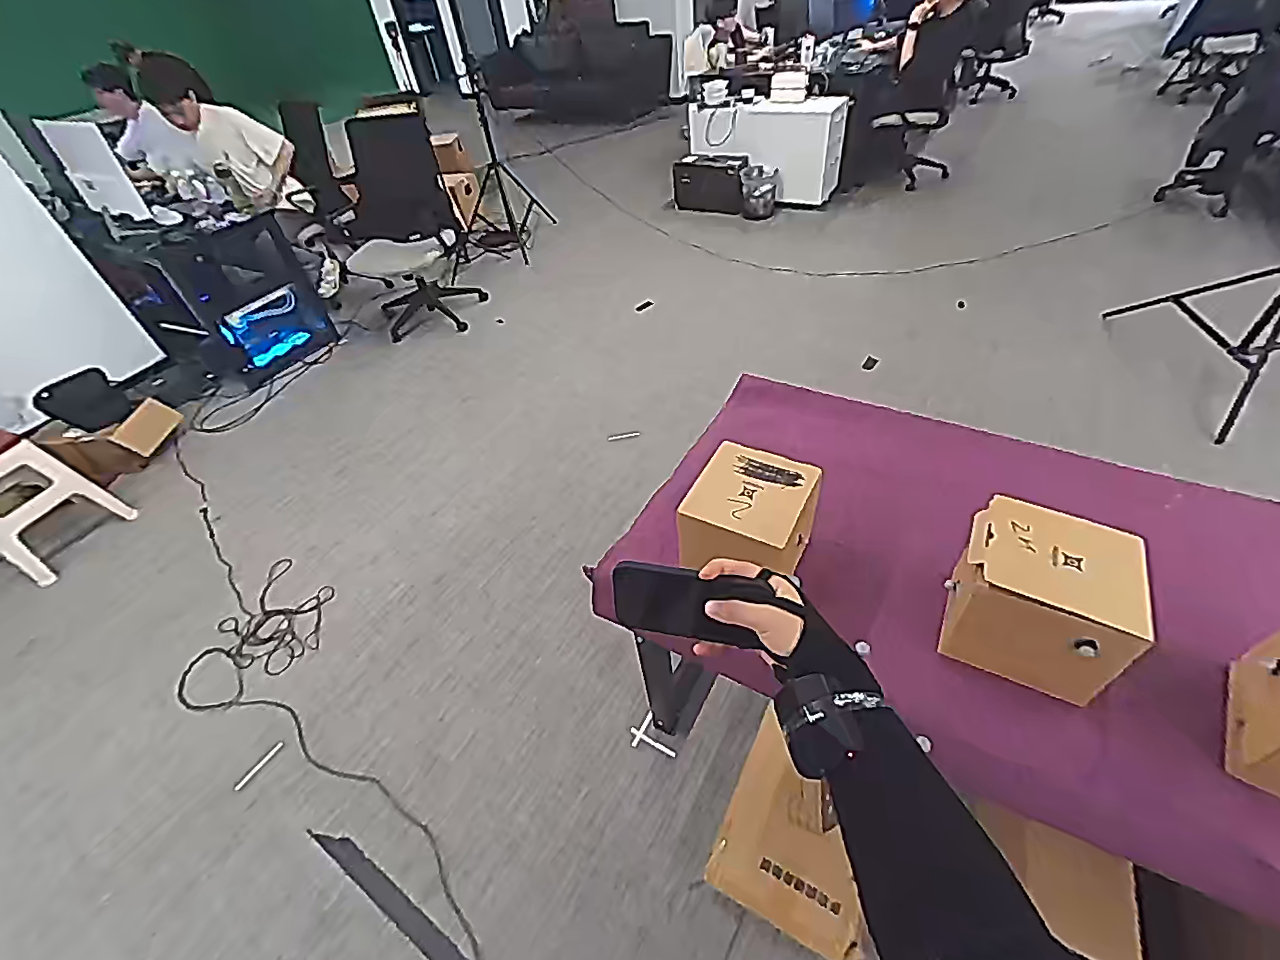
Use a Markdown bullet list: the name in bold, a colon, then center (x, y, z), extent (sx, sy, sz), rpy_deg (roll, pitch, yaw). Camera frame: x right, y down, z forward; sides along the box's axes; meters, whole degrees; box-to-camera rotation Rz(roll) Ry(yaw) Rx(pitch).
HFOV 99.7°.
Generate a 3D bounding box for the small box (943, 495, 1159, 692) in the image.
- **small box**: center (0.535, 0.154, 0.723), extent (0.179, 0.176, 0.168), rpy_deg (18, 48, 24)

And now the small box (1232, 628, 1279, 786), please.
- **small box**: center (0.798, 0.260, 0.580), extent (0.179, 0.176, 0.168), rpy_deg (25, 53, 28)
